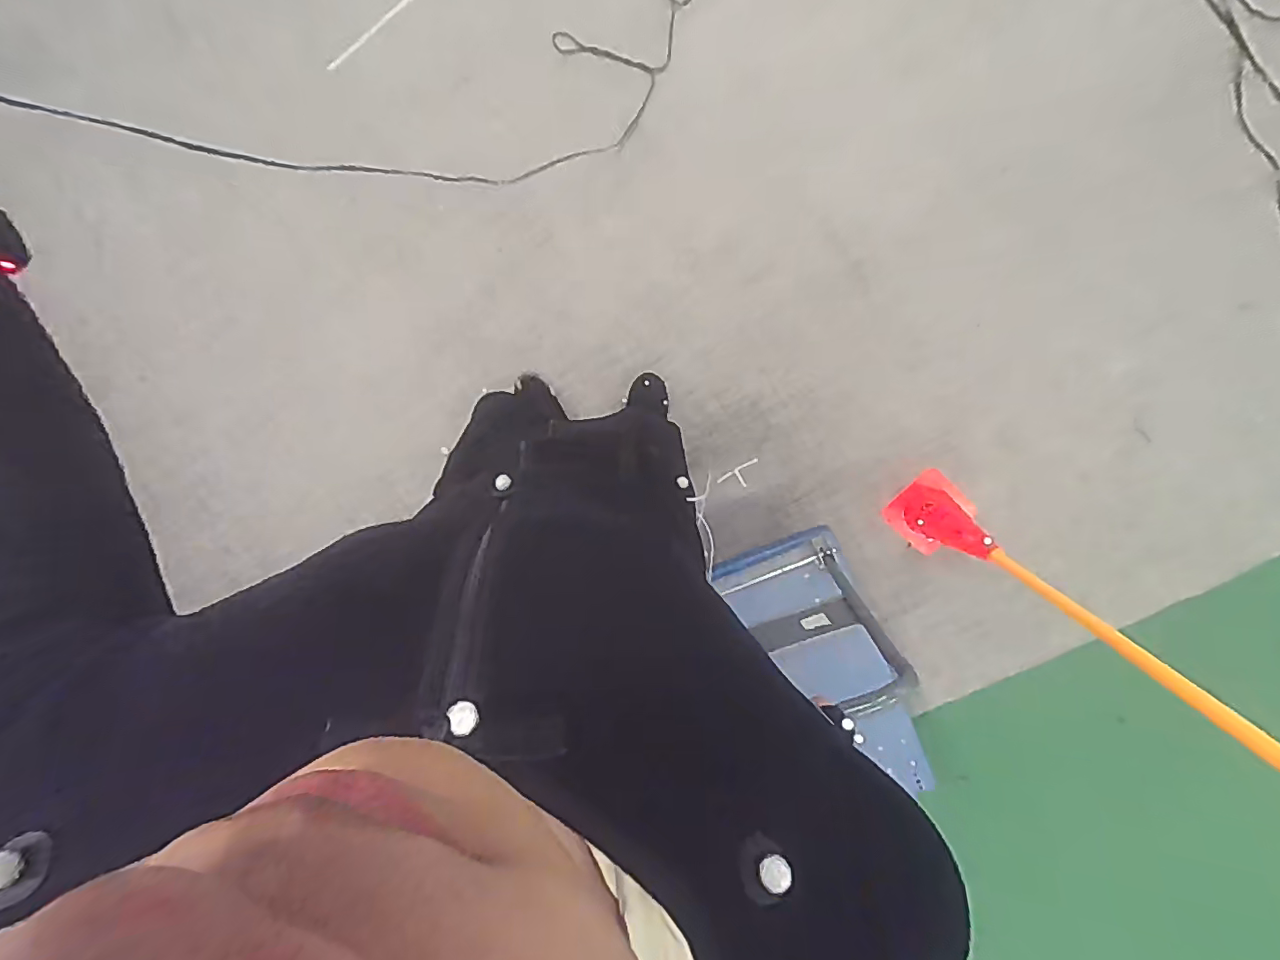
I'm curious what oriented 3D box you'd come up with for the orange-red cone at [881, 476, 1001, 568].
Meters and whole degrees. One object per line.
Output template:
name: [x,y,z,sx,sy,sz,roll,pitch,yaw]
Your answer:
orange-red cone: [0.821,0.146,1.407,0.198,0.360,0.199,44,101,-6]
